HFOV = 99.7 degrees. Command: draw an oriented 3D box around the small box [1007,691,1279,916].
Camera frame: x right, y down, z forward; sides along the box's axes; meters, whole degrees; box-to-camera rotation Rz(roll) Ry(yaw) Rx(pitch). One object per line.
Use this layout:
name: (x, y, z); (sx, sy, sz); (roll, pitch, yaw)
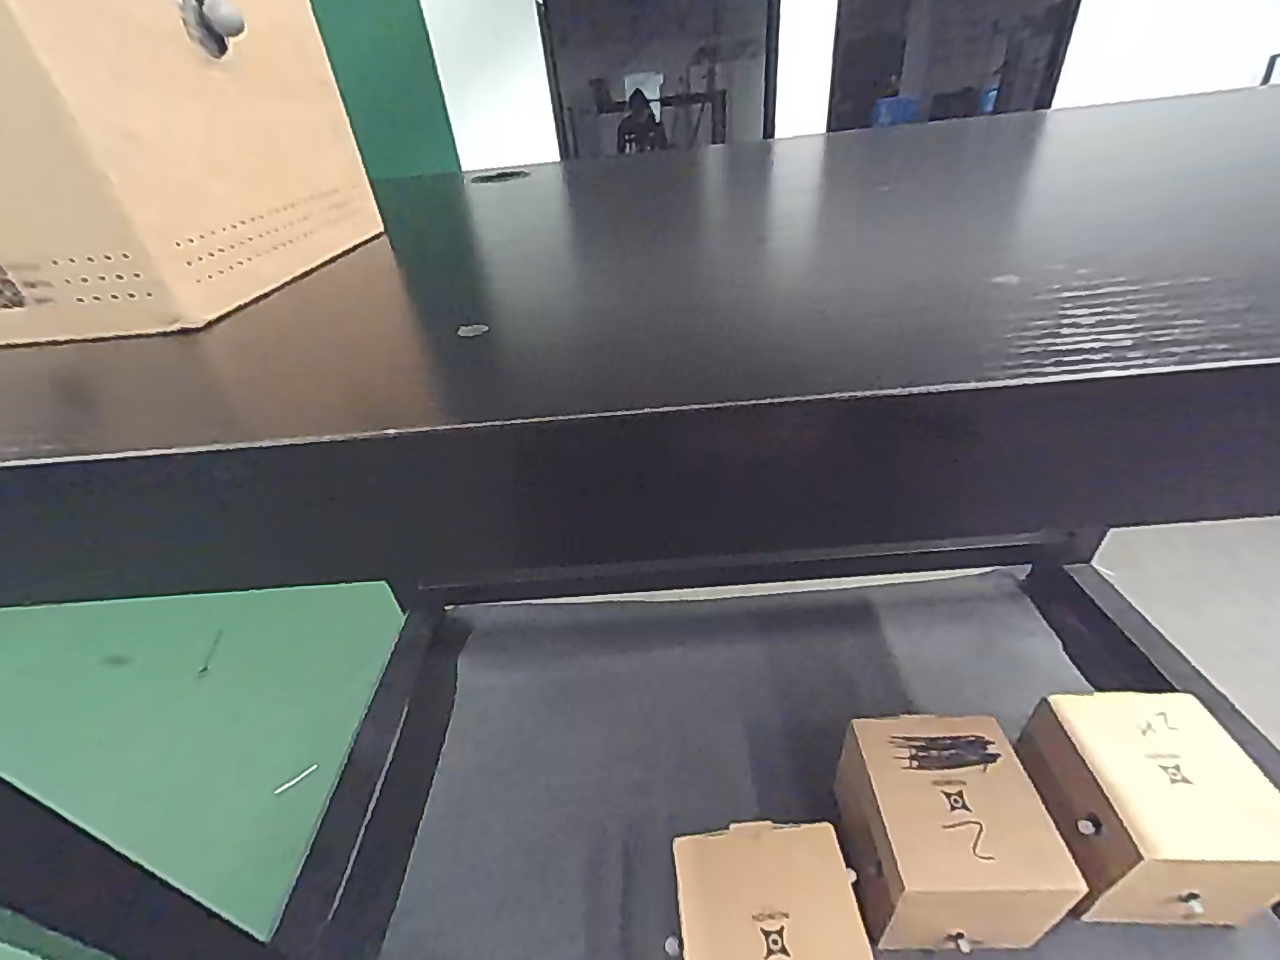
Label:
small box: (0.565, 0.367, 0.618); (0.168, 0.176, 0.179); (-3, 35, 5)
